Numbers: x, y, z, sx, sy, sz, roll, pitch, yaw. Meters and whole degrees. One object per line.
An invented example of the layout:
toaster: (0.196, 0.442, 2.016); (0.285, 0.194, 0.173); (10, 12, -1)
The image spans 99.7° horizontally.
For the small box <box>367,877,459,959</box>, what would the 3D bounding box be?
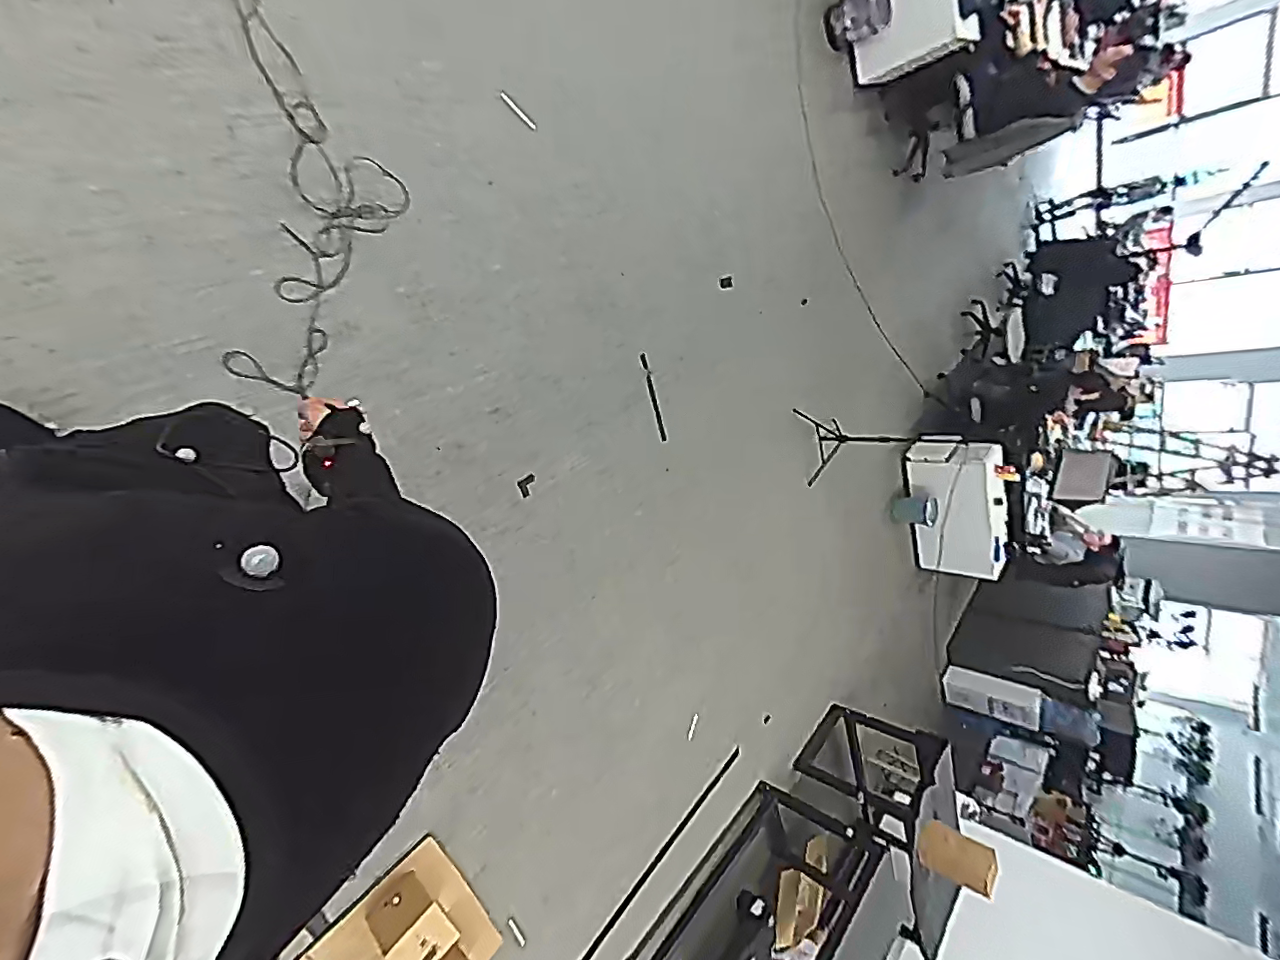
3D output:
small box: (-0.687, 1.357, 1.633); (0.168, 0.176, 0.179); (-37, 117, -37)
